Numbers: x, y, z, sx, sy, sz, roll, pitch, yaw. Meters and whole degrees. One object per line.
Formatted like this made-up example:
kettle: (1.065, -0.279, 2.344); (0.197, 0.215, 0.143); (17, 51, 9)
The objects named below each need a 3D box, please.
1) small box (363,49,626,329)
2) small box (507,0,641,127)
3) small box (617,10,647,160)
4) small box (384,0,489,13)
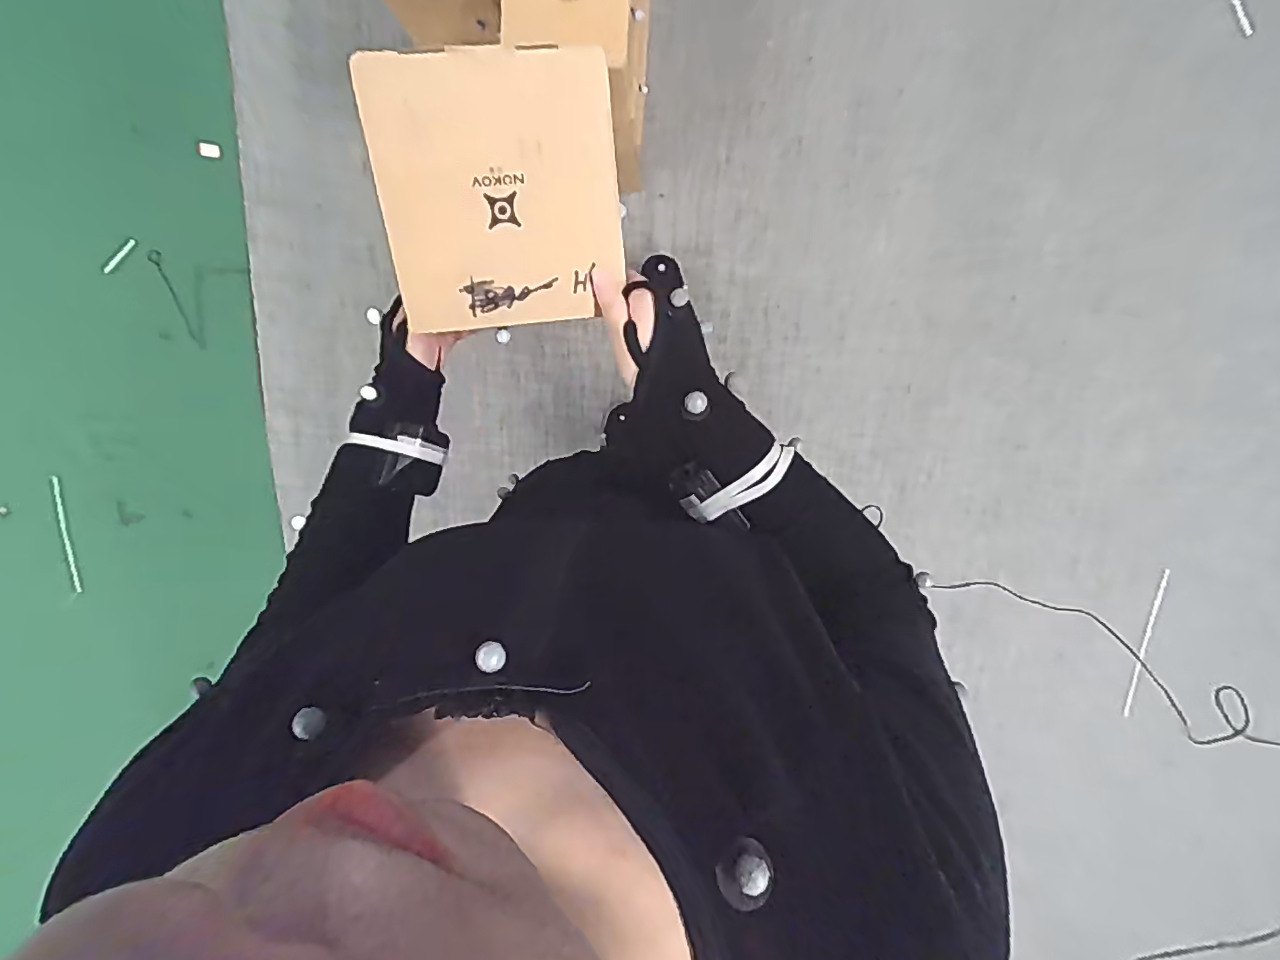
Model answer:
small box: (-0.106, -0.225, 0.458); (0.168, 0.176, 0.179); (-6, 110, -6)
small box: (-0.086, -0.638, 0.769); (0.168, 0.176, 0.179); (5, 104, 0)
small box: (-0.081, -0.672, 0.929); (0.179, 0.176, 0.168); (5, 103, 1)
small box: (-0.306, -0.789, 0.745); (0.179, 0.176, 0.168); (2, 101, 3)
